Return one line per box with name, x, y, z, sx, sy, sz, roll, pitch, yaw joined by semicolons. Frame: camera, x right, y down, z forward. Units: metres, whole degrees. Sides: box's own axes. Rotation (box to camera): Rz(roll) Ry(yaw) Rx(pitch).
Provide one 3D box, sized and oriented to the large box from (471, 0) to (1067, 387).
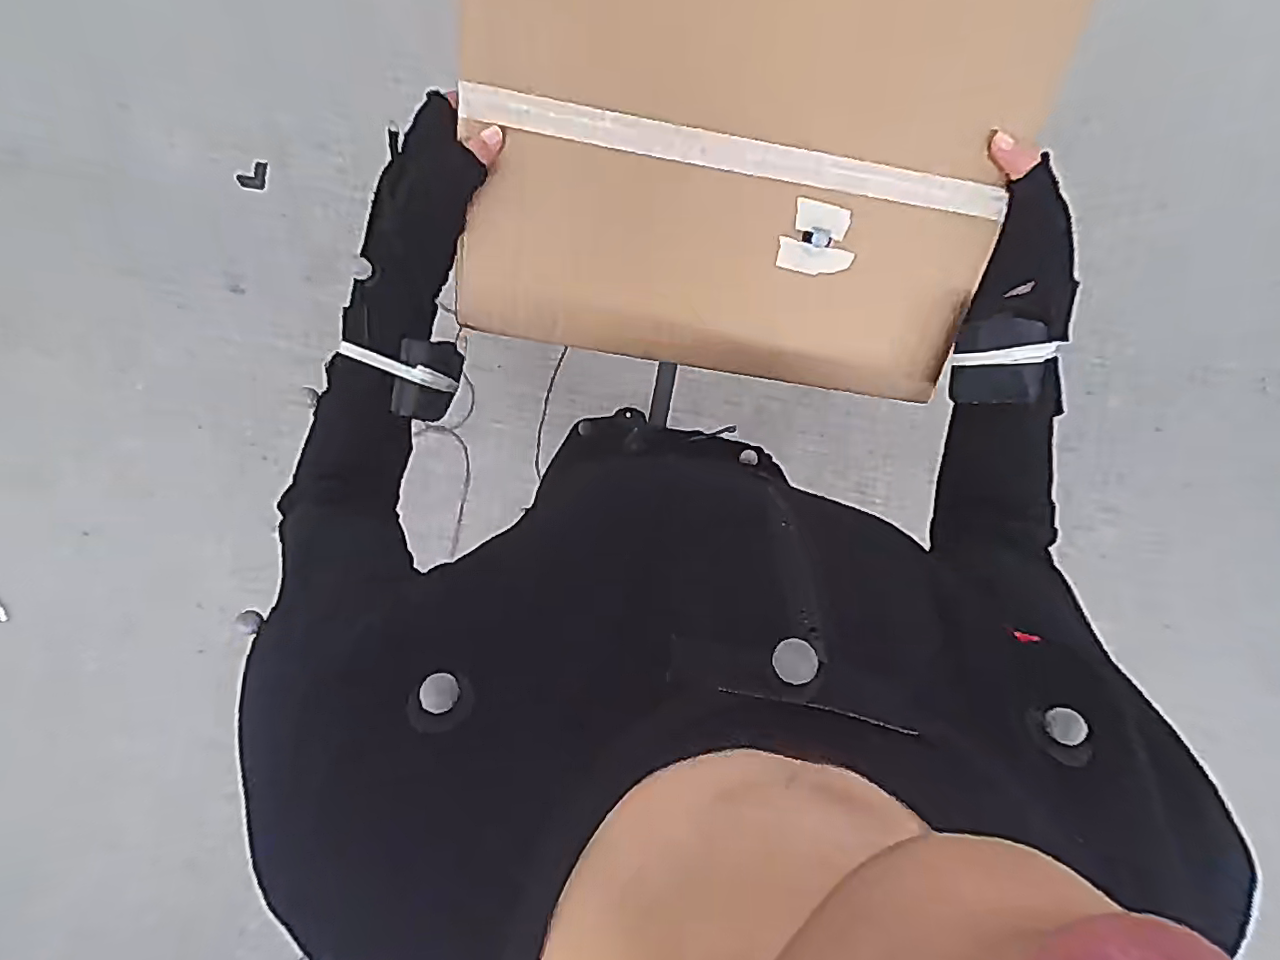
large box;0.070;-0.307;0.536;0.408;0.320;0.320;7;117;-6
